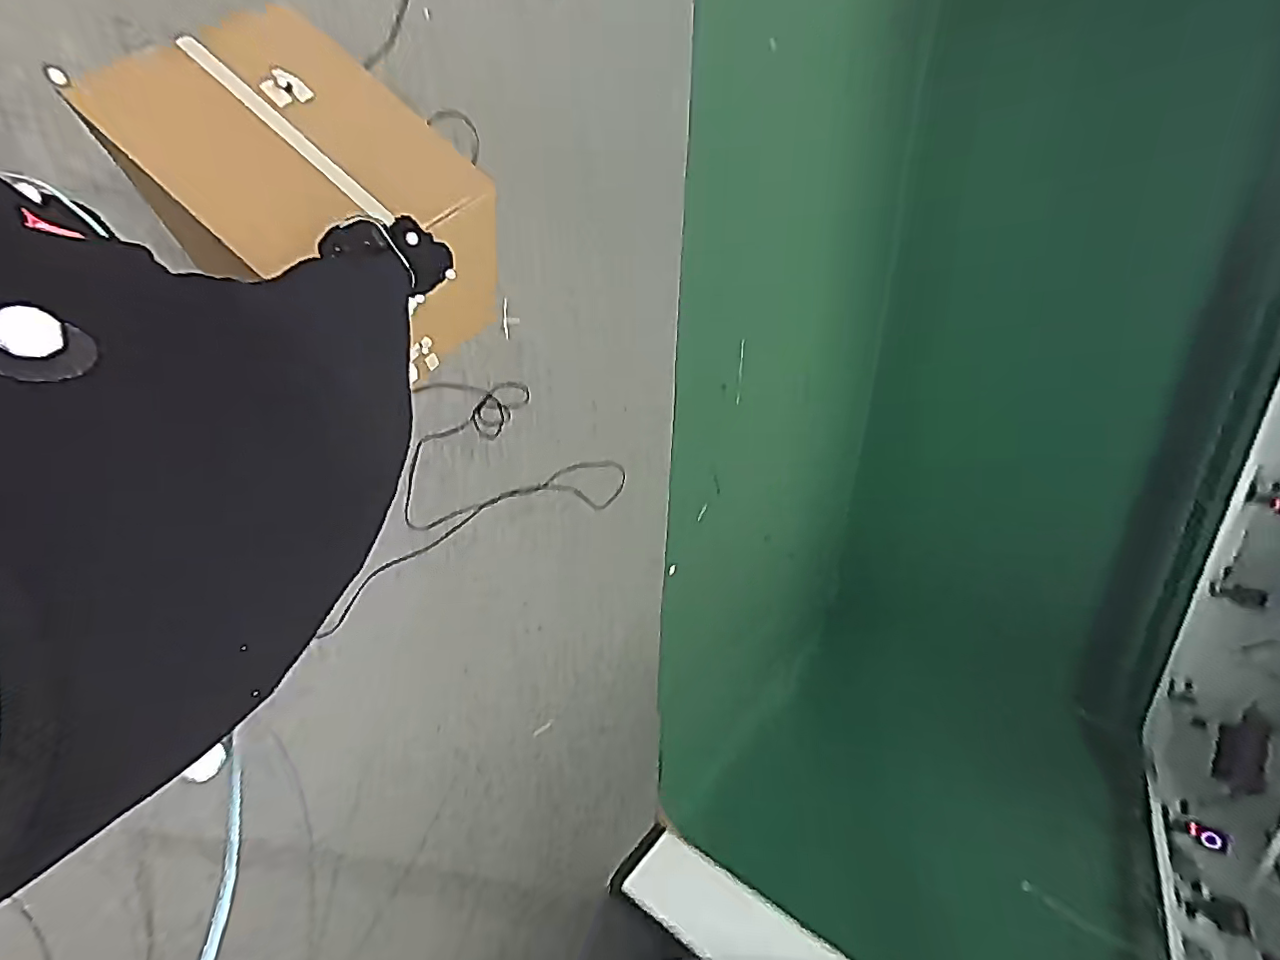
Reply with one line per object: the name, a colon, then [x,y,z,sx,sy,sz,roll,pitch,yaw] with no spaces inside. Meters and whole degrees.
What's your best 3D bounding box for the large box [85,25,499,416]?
large box: [-0.478,-0.381,0.854,0.320,0.408,0.320,-47,177,-23]
